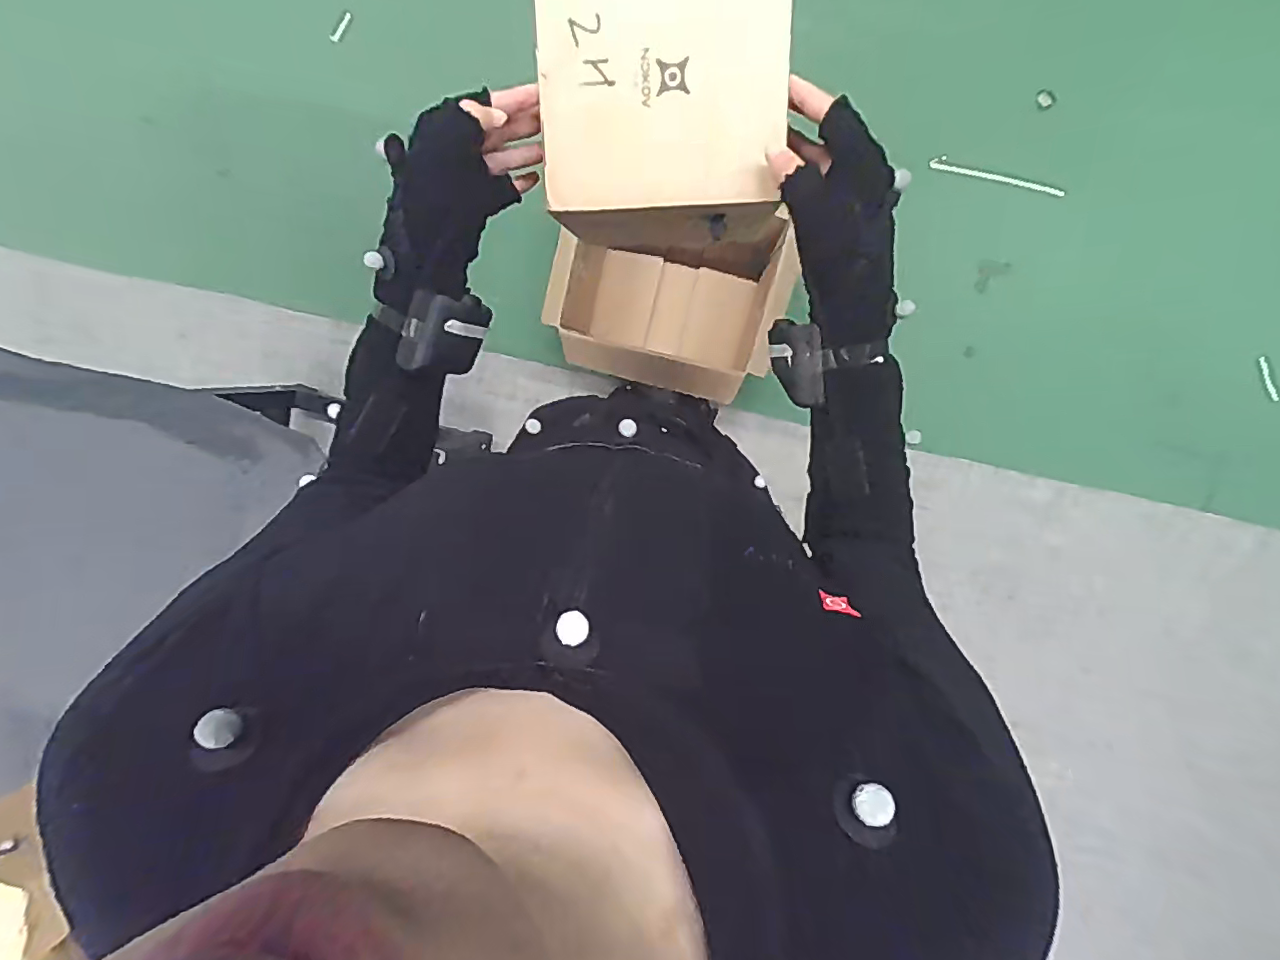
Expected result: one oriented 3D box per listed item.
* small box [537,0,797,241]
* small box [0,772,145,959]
[{"bbox_3d":[0.024,-0.299,0.446,0.179,0.176,0.168,0,105,6],"label":"small box"},{"bbox_3d":[-0.965,0.611,0.873,0.179,0.176,0.168,16,102,1],"label":"small box"}]
